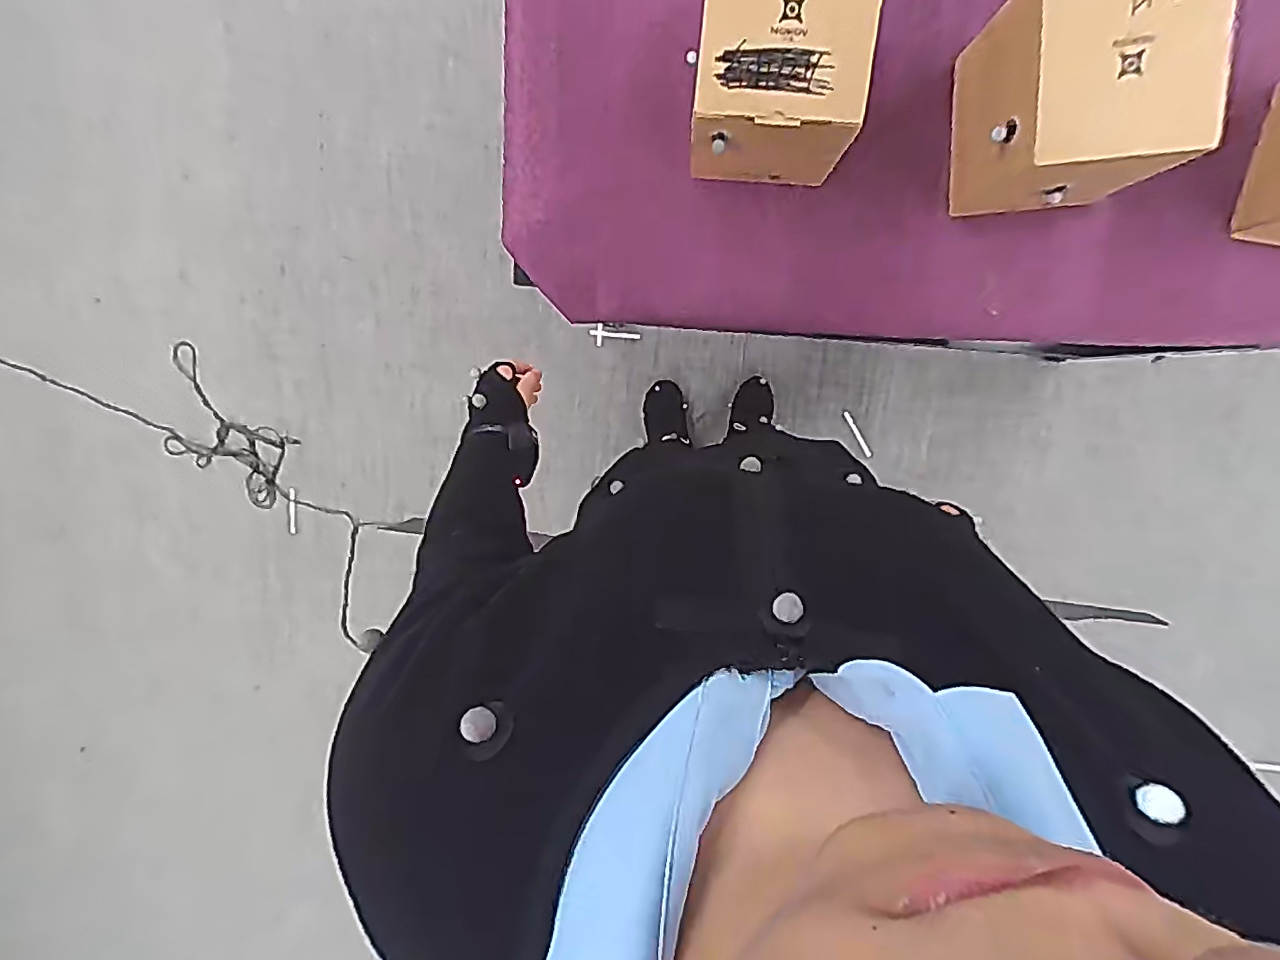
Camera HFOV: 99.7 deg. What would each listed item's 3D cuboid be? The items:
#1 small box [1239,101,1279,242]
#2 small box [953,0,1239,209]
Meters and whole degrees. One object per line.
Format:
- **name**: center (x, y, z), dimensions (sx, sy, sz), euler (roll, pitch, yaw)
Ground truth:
- **small box**: center (0.797, -0.353, 0.554), dimensions (0.168, 0.176, 0.179), euler (10, 100, 3)
- **small box**: center (0.456, -0.401, 0.571), dimensions (0.168, 0.176, 0.179), euler (-3, 100, 4)
